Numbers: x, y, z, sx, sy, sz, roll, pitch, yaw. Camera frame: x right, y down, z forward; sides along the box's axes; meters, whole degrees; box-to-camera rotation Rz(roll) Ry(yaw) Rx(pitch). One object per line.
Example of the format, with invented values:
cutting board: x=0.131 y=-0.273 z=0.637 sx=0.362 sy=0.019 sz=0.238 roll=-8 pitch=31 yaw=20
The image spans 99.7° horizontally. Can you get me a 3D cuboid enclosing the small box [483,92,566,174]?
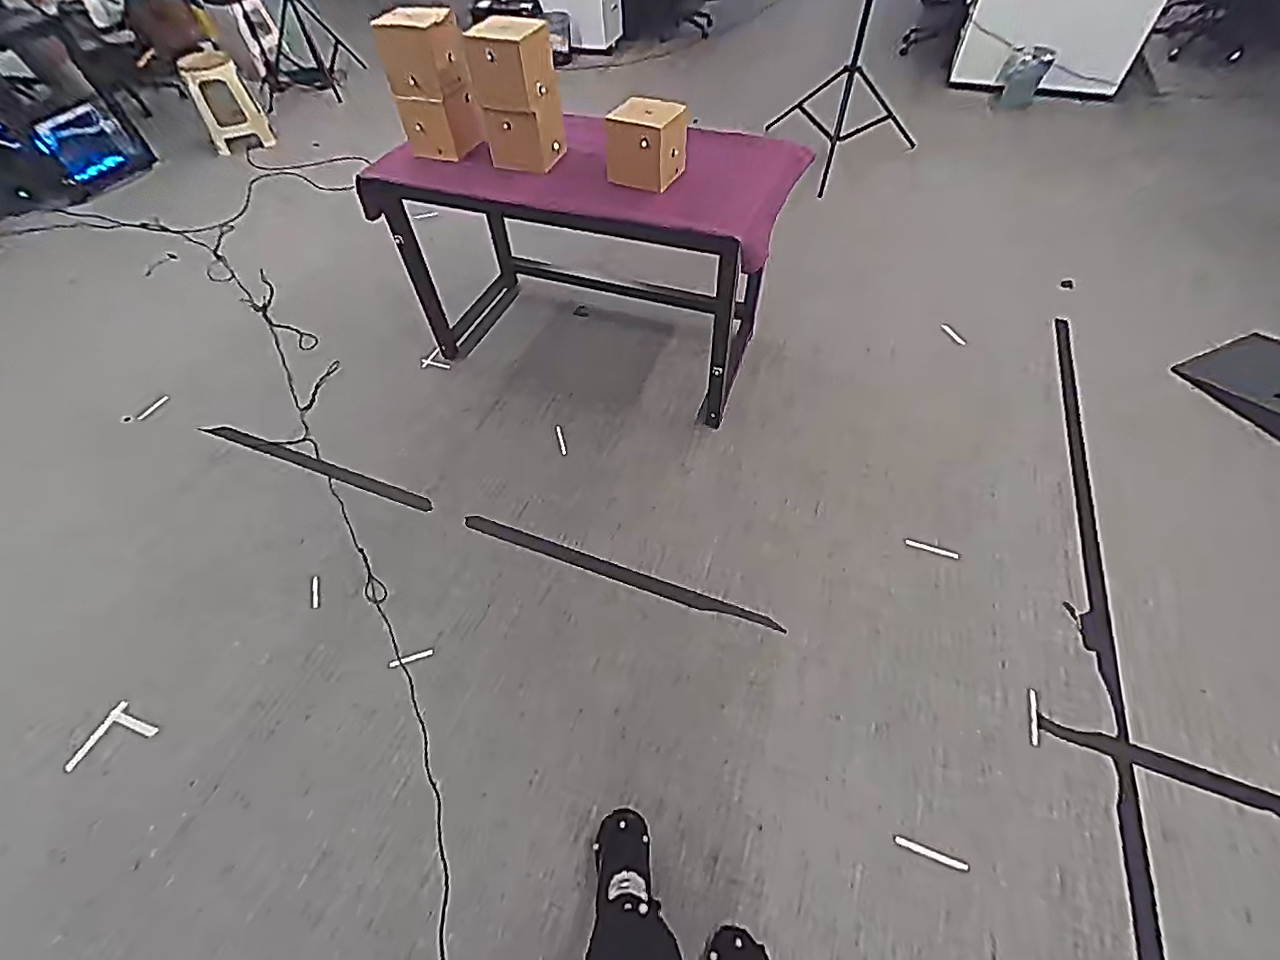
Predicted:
small box: x=-0.338 y=-1.043 z=1.618 sx=0.179 sy=0.176 sz=0.168 roll=15 pitch=55 yaw=12

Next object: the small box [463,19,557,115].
small box: x=-0.349 y=-1.130 z=1.481 sx=0.179 sy=0.176 sz=0.168 roll=17 pitch=57 yaw=13

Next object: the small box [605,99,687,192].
small box: x=0.020 y=-0.942 z=1.528 sx=0.179 sy=0.176 sz=0.168 roll=22 pitch=56 yaw=18

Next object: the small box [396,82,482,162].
small box: x=-0.616 y=-1.118 z=1.685 sx=0.168 sy=0.176 sz=0.179 roll=13 pitch=54 yaw=12

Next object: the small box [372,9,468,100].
small box: x=-0.623 y=-1.223 z=1.559 sx=0.179 sy=0.176 sz=0.168 roll=12 pitch=54 yaw=10
